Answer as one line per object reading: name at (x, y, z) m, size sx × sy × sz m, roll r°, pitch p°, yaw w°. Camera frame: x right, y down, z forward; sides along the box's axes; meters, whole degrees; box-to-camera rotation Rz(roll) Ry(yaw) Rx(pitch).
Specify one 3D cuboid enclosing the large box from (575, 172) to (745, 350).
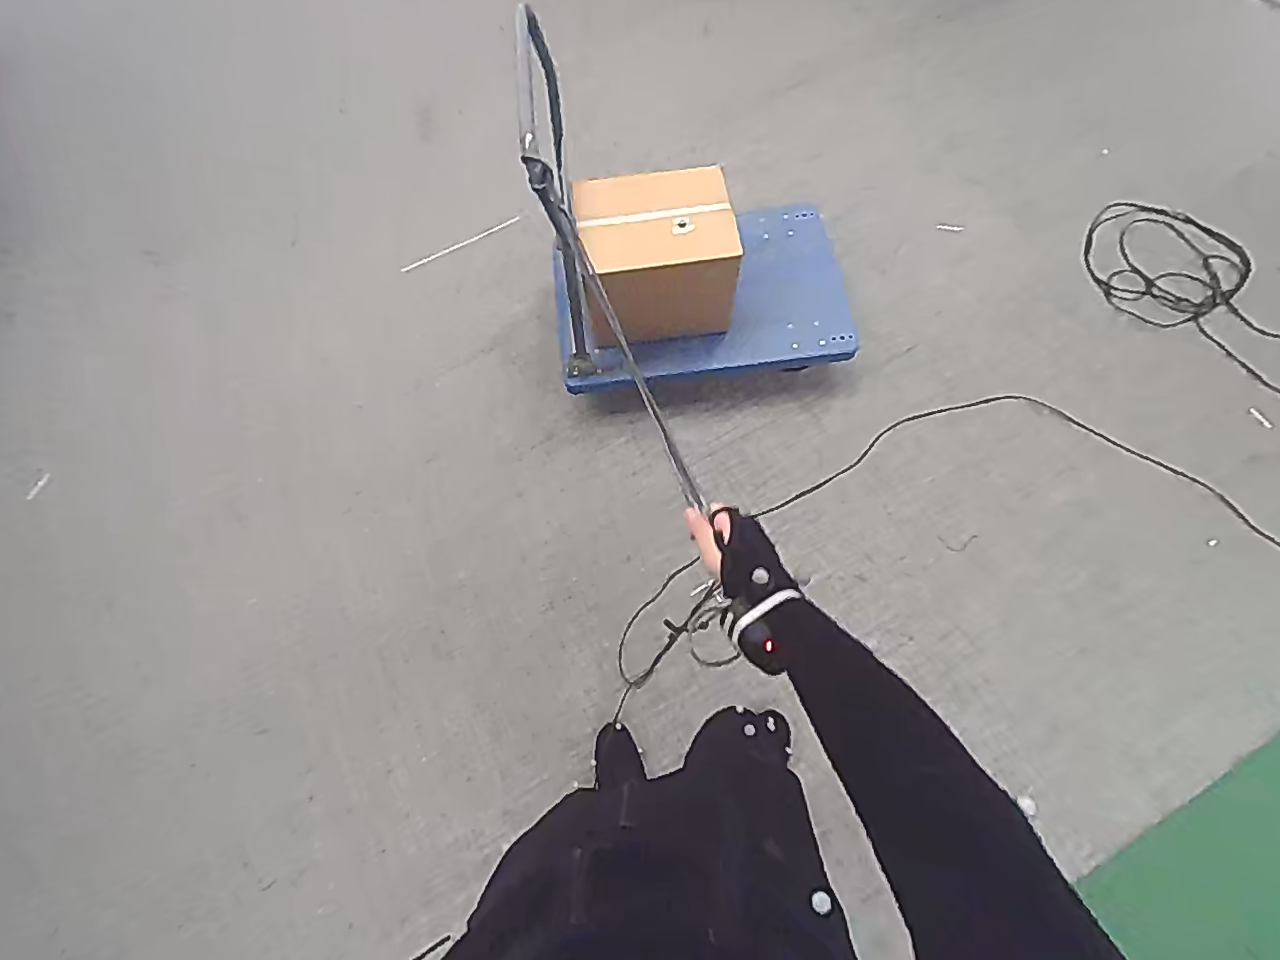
large box at (0.046, -0.602, 1.521) m, size 0.408 × 0.320 × 0.320 m, roll -8°, pitch 69°, yaw -2°
